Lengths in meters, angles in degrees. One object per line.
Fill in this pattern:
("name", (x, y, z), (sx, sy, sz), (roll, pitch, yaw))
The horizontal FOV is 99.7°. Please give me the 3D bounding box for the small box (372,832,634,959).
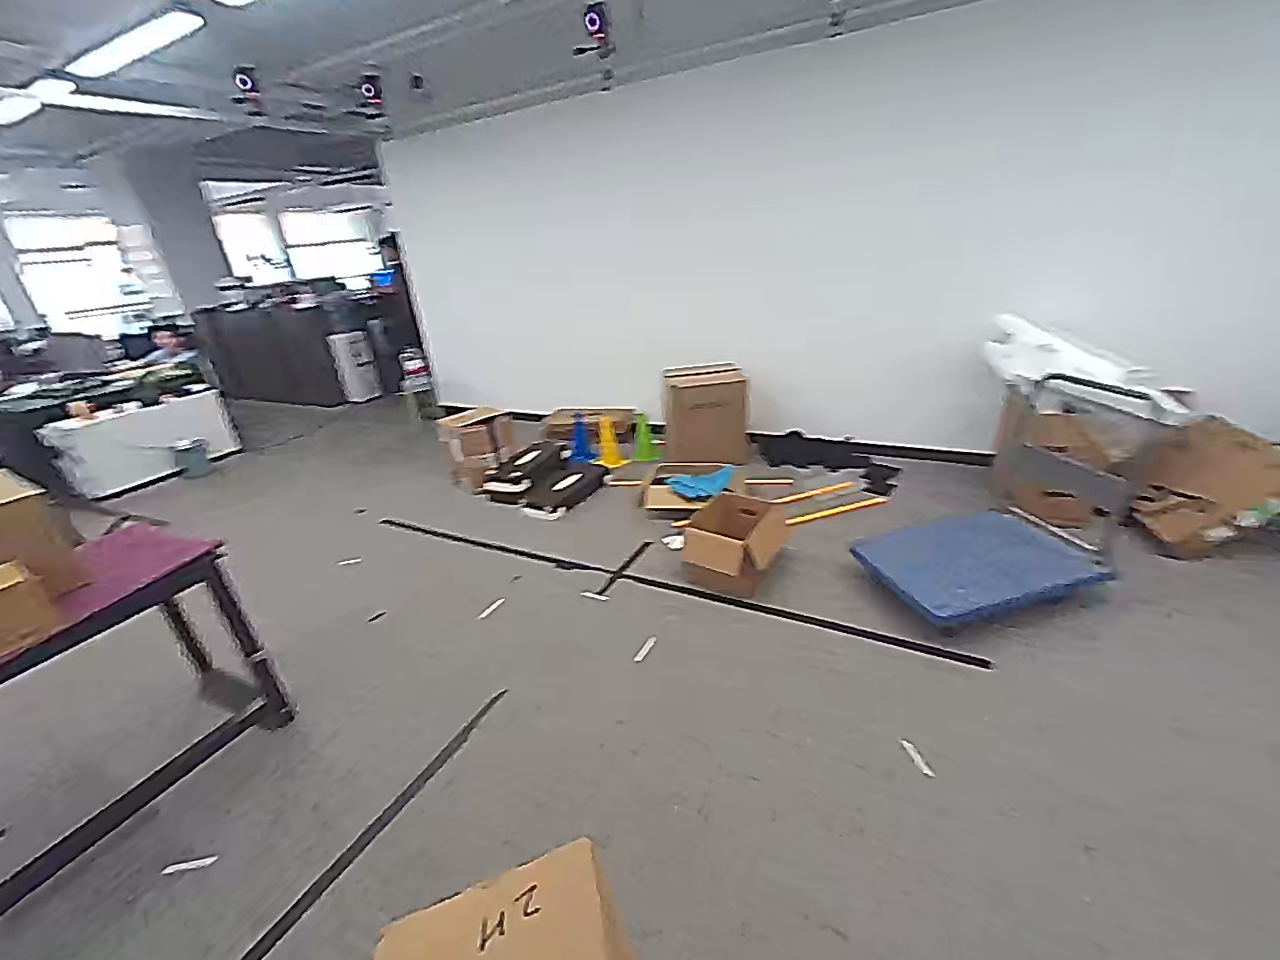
("small box", (-0.076, 0.395, 0.356), (0.168, 0.176, 0.179), (-18, 15, -10))
